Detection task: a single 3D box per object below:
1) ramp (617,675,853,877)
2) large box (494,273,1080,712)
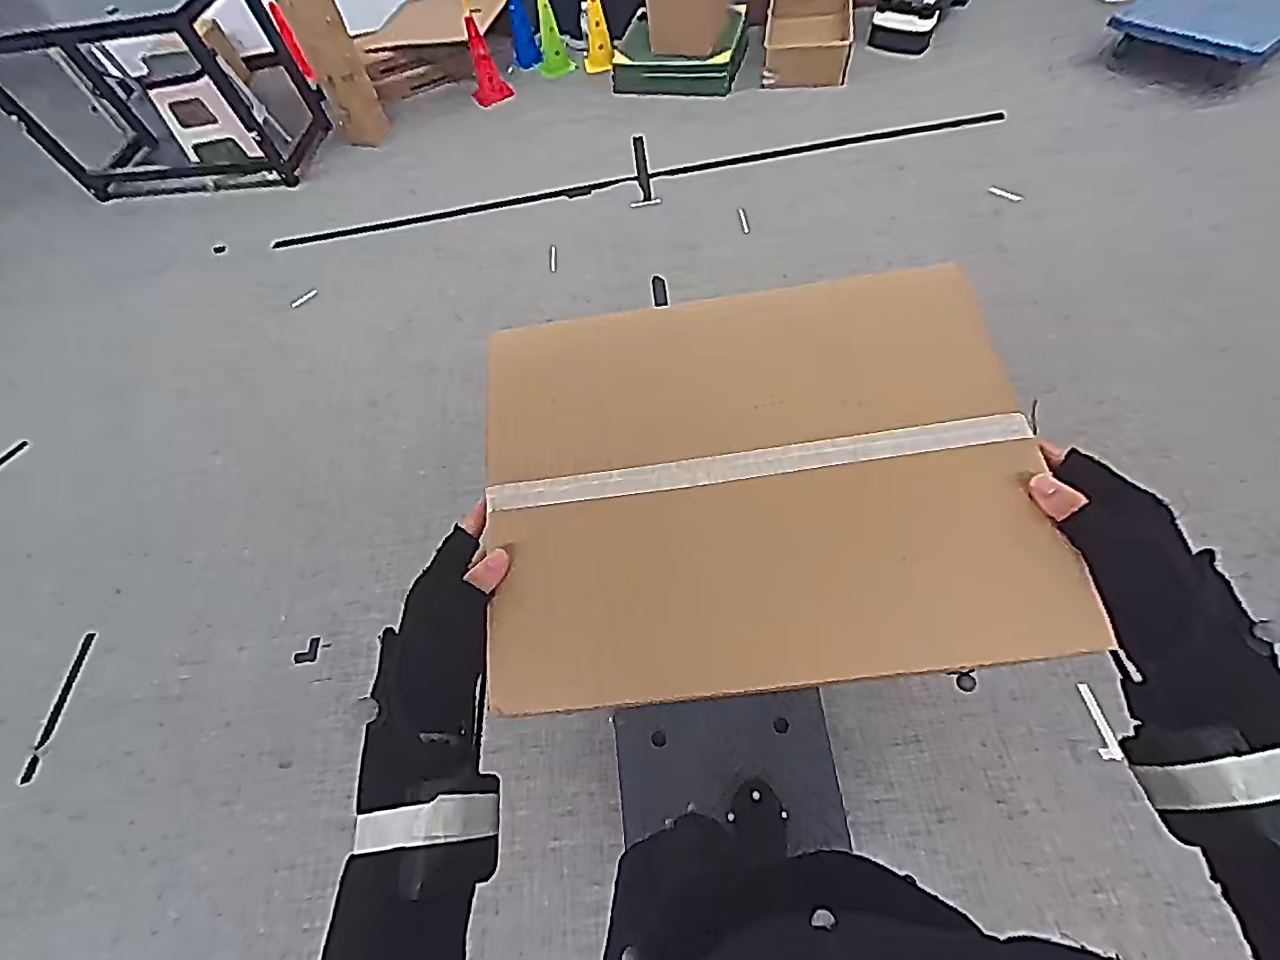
[{"bbox_3d":[0.171,0.379,1.347,0.509,0.206,0.991,-9,61,2],"label":"ramp"},{"bbox_3d":[0.100,0.043,0.561,0.408,0.320,0.320,-8,68,4],"label":"large box"}]
